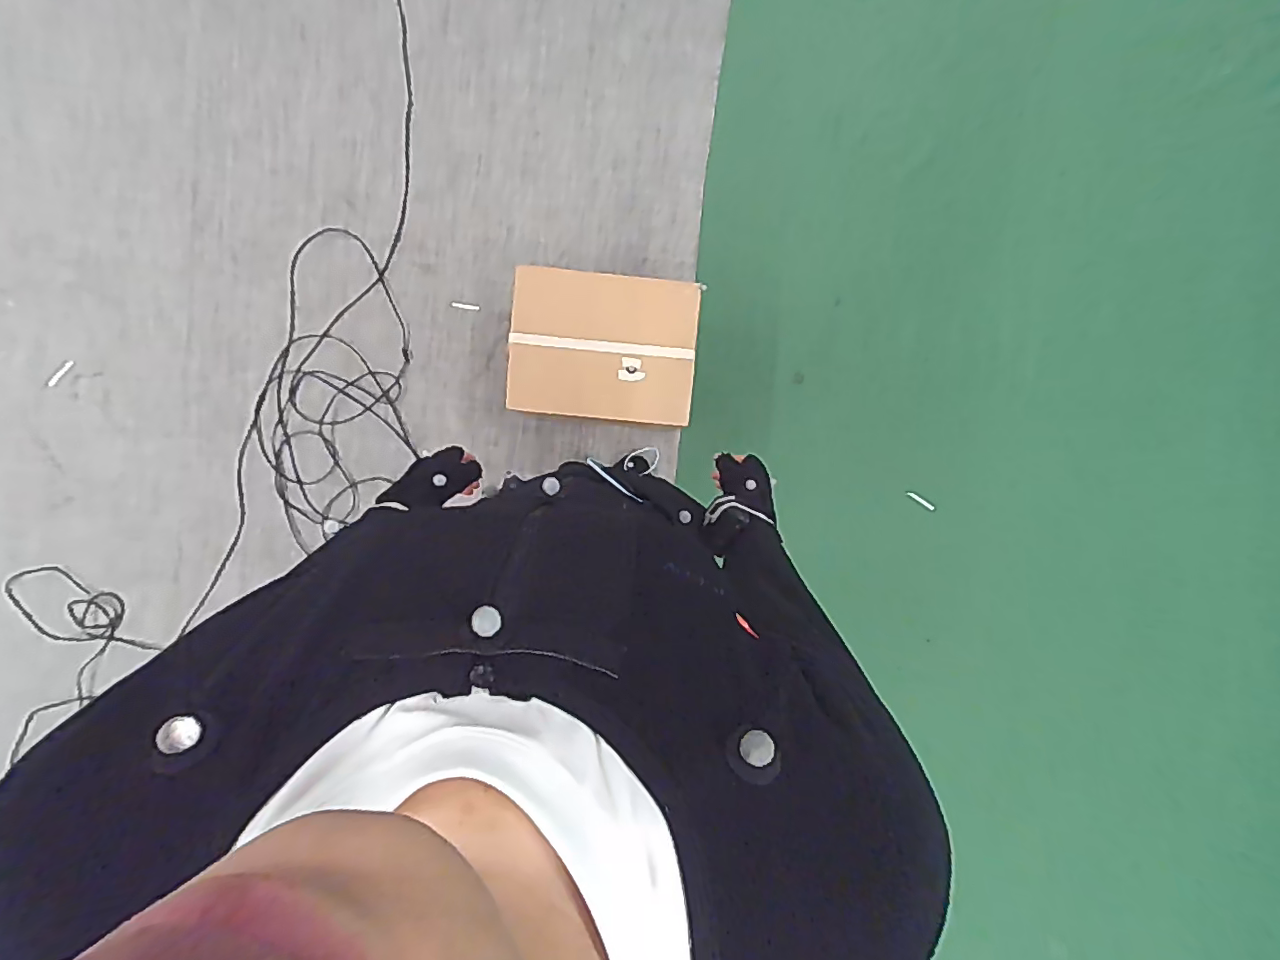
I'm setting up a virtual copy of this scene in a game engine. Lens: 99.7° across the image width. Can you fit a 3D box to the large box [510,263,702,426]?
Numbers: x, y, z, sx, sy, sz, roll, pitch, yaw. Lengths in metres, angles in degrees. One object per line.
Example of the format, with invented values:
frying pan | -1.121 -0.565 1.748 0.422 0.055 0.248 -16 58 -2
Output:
large box | -0.081 -0.306 1.320 0.408 0.320 0.320 5 94 -2
